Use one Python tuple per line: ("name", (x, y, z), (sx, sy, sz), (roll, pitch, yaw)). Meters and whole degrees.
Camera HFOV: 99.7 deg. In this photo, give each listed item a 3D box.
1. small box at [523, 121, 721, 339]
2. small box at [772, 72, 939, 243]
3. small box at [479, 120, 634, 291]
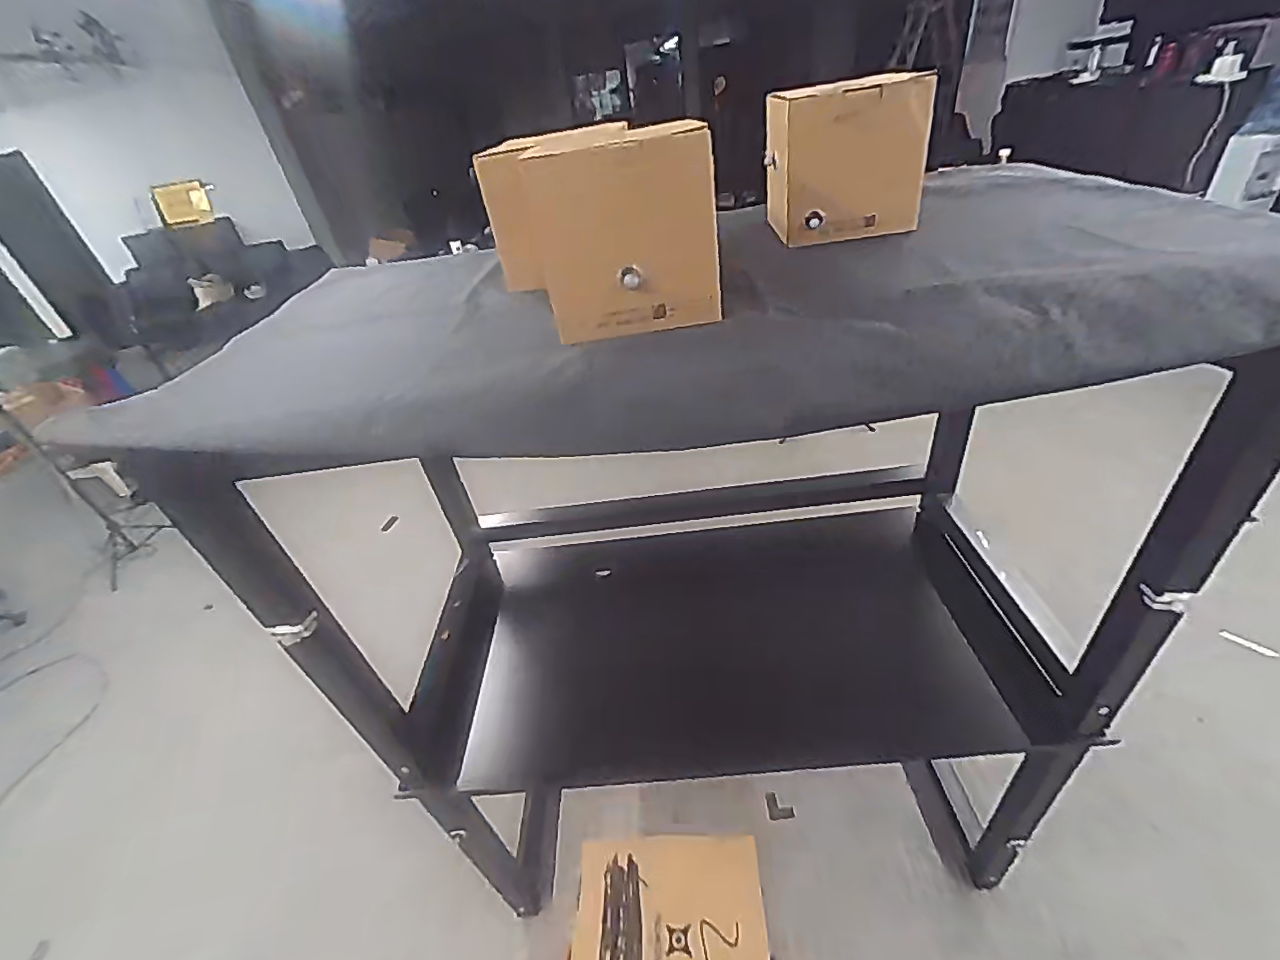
("small box", (-0.010, -0.262, 0.566), (0.168, 0.176, 0.179), (-7, 35, 4))
("small box", (0.272, -0.427, 0.725), (0.168, 0.176, 0.179), (-5, 36, 7))
("small box", (-0.090, -0.374, 0.741), (0.179, 0.176, 0.168), (-4, 37, 9))
